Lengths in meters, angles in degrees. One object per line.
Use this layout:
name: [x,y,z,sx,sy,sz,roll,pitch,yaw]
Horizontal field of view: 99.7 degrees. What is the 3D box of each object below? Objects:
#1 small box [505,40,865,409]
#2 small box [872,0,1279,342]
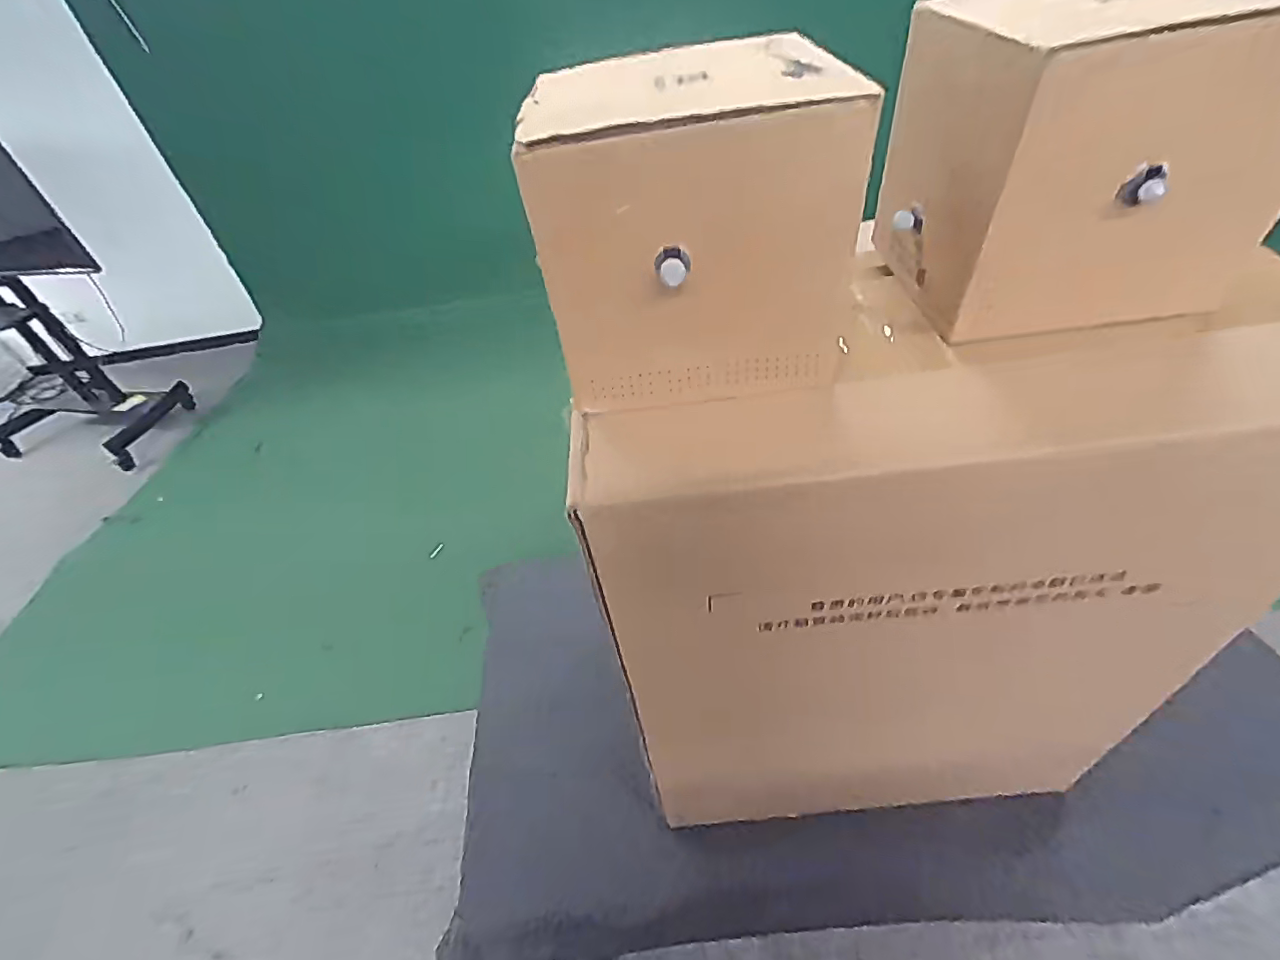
small box: [0.028,-0.164,0.365,0.179,0.176,0.168,-7,47,4]
small box: [0.281,-0.215,0.365,0.179,0.176,0.168,-7,47,5]
